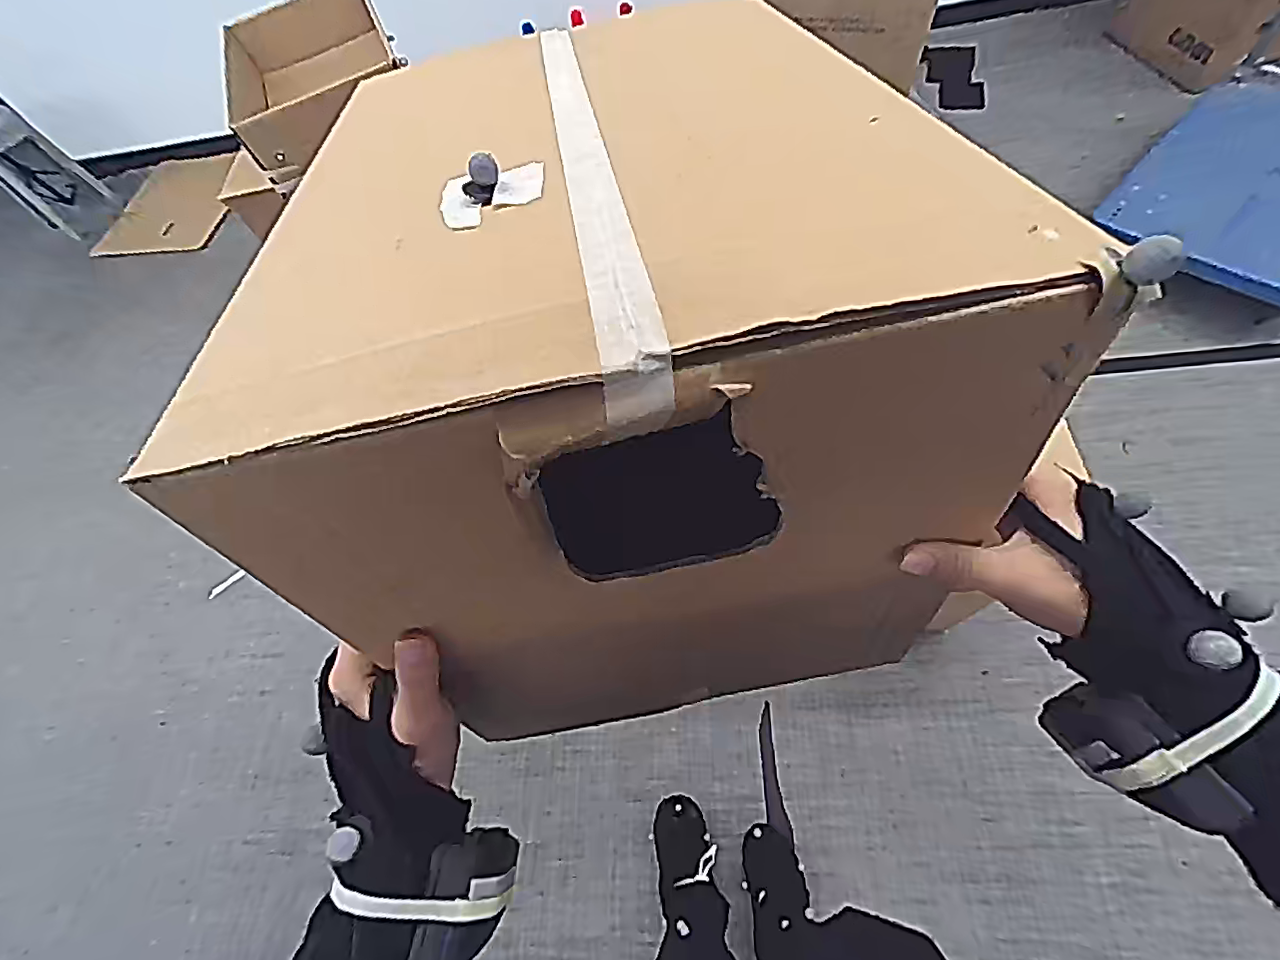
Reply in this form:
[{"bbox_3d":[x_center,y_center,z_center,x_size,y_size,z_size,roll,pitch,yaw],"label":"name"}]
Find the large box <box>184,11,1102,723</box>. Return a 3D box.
[{"bbox_3d":[-0.015,-0.089,0.411,0.320,0.320,0.408,-13,51,1],"label":"large box"}]
